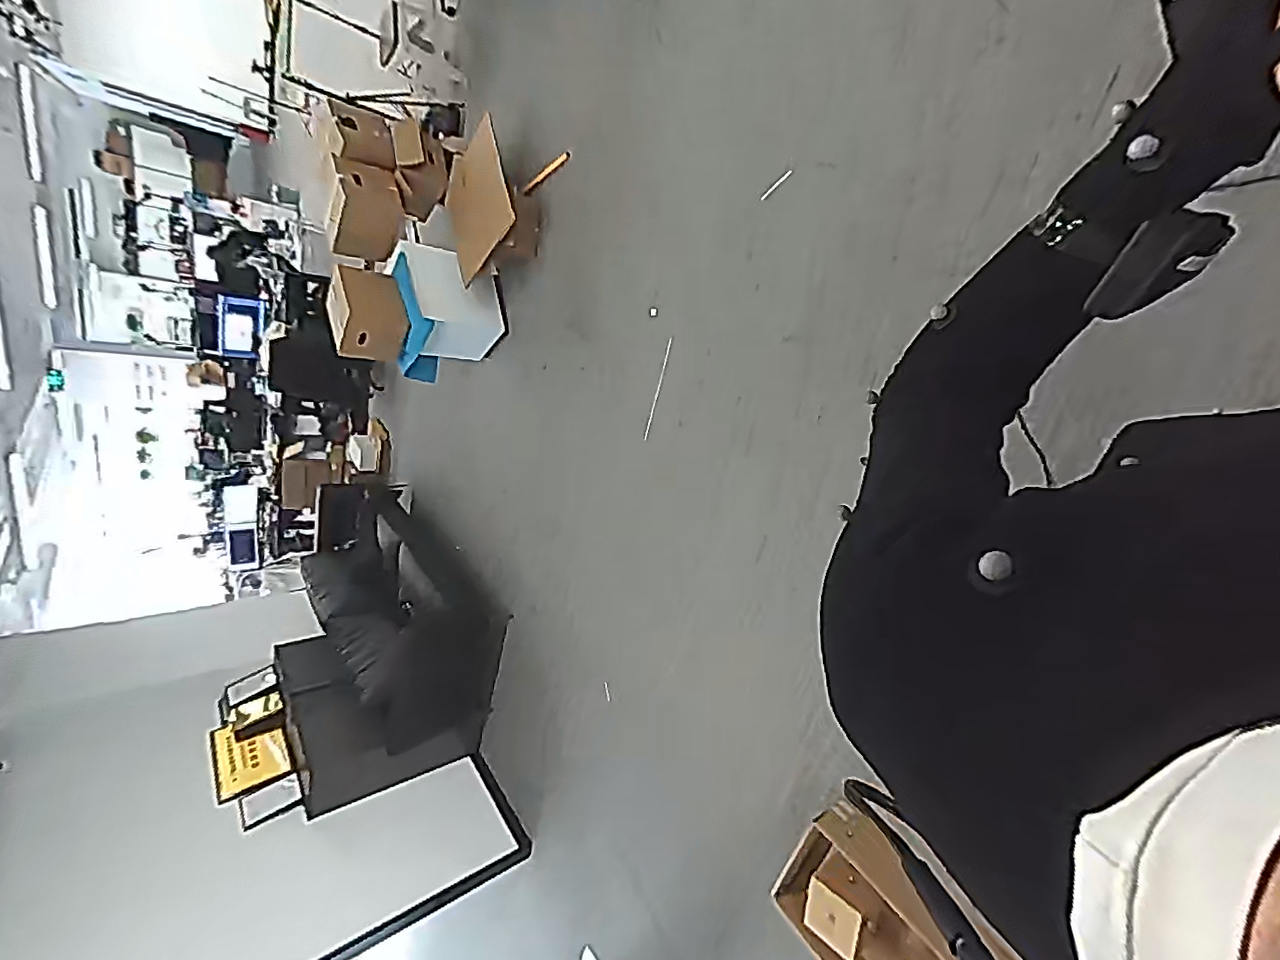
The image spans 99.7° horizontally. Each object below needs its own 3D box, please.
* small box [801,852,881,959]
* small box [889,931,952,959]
[{"bbox_3d":[0.630,1.320,1.690,0.168,0.176,0.179,16,104,47],"label":"small box"},{"bbox_3d":[0.795,1.421,1.512,0.168,0.176,0.179,49,127,36],"label":"small box"}]
